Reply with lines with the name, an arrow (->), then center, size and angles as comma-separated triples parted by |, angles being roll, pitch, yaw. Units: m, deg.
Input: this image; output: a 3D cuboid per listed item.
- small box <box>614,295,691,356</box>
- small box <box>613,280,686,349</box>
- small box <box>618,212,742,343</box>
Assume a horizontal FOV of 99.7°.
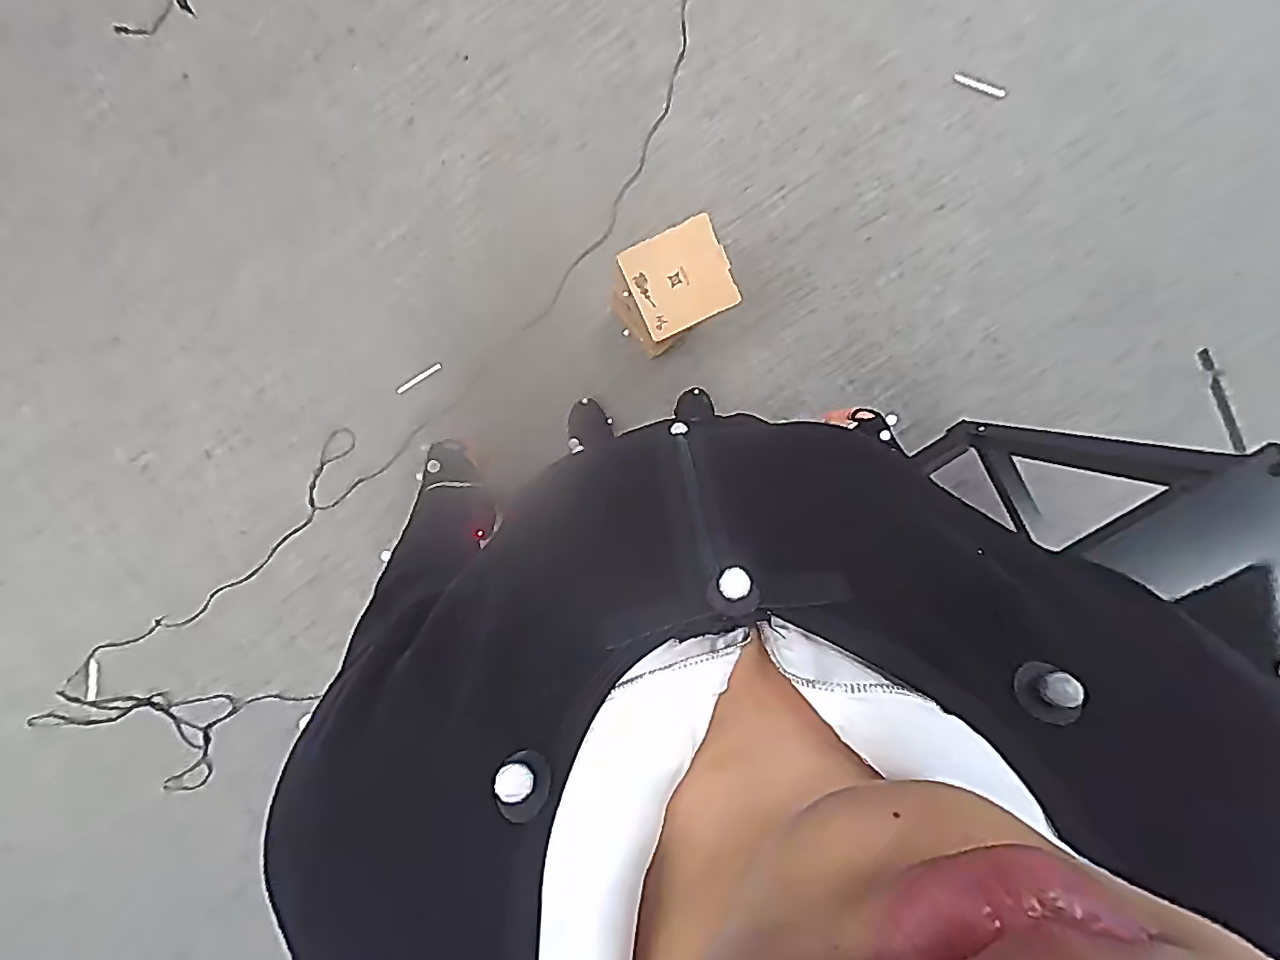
small box -> 0.049, -0.429, 1.350 | 0.179, 0.176, 0.168 | -36, 99, 5
small box -> 0.058, -0.405, 1.189 | 0.179, 0.176, 0.168 | -40, 100, 4
small box -> 0.066, -0.374, 1.028 | 0.179, 0.176, 0.168 | -25, 101, 2
